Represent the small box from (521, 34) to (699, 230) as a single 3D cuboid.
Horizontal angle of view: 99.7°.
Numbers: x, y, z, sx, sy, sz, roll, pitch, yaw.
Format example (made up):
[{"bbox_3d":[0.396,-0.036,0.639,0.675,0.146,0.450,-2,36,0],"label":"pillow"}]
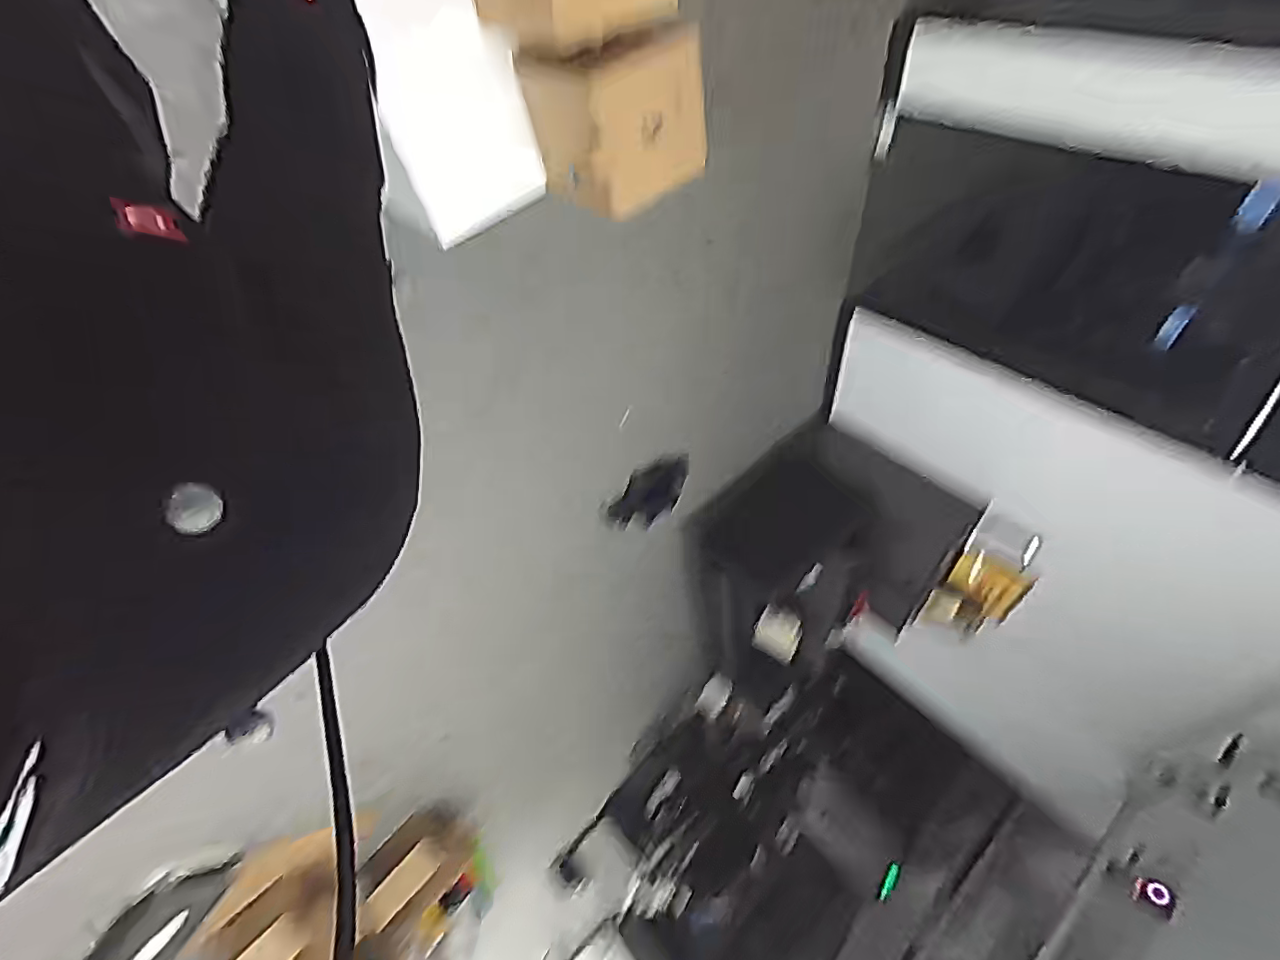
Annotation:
[{"bbox_3d":[-0.042,-0.481,0.746,0.179,0.176,0.168,-40,147,-18],"label":"small box"}]
